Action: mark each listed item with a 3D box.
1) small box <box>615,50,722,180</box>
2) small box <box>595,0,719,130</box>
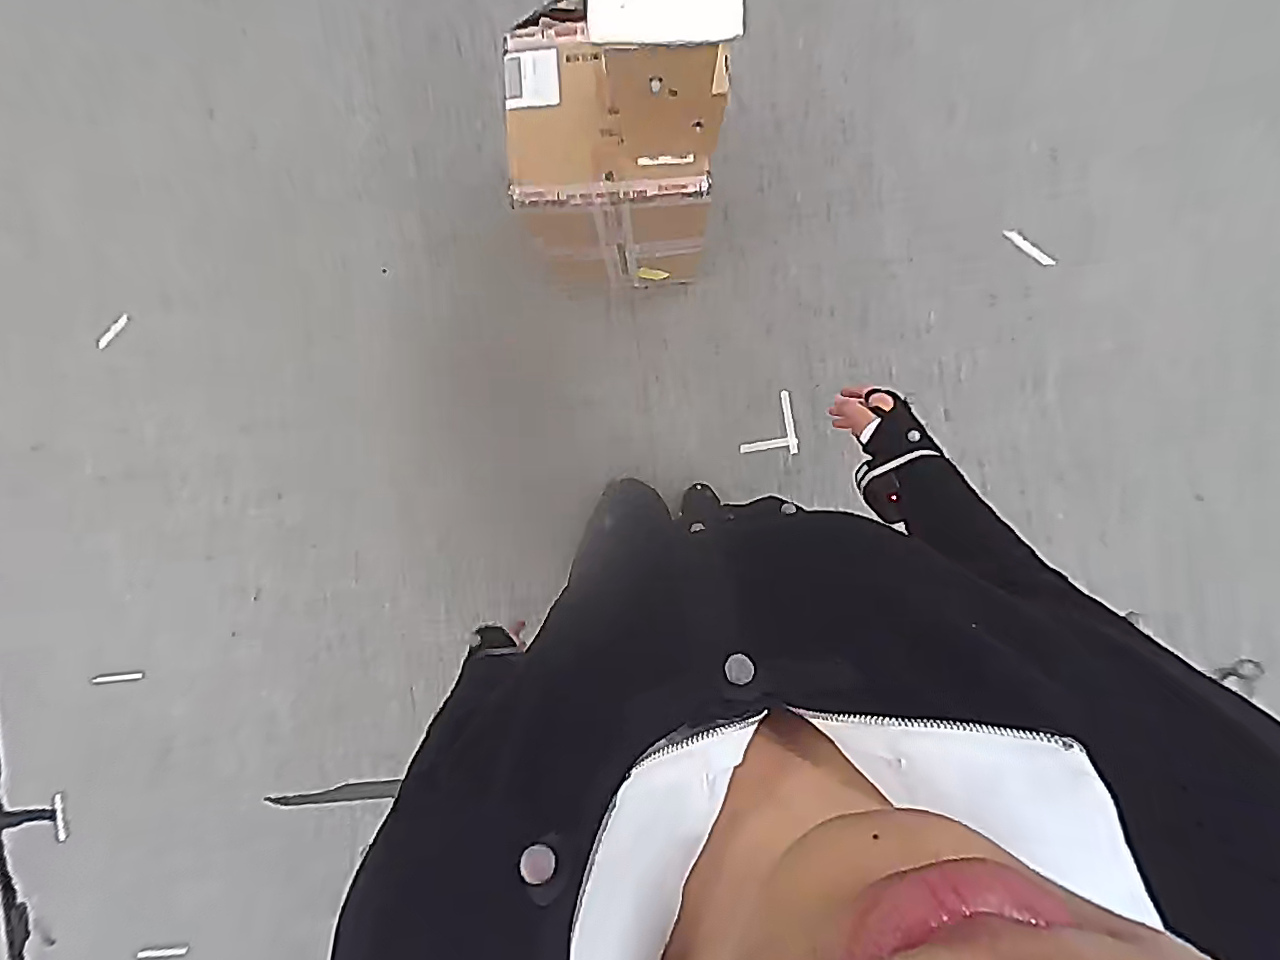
[{"bbox_3d":[0.042,-0.660,0.959,0.179,0.176,0.168,-4,91,1],"label":"small box"},{"bbox_3d":[0.022,-0.655,0.794,0.168,0.176,0.179,0,92,0],"label":"small box"}]
